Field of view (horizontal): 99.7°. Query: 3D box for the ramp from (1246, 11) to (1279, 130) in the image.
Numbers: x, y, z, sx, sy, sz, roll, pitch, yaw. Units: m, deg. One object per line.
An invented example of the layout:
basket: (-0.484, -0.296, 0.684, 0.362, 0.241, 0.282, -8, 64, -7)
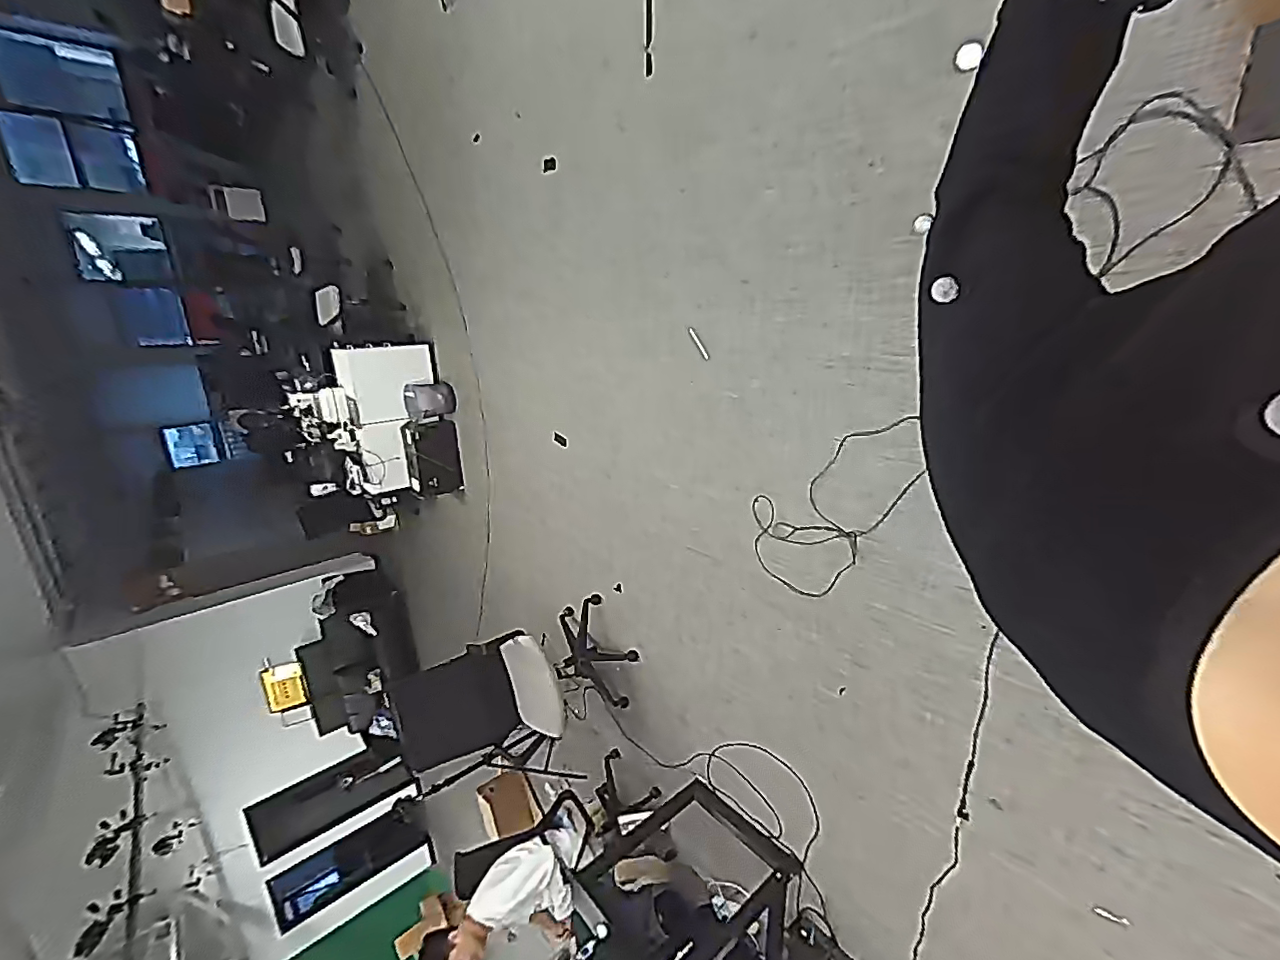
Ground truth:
ramp: (1.126, -1.006, 0.567, 0.509, 0.206, 0.991, 15, 114, 47)
